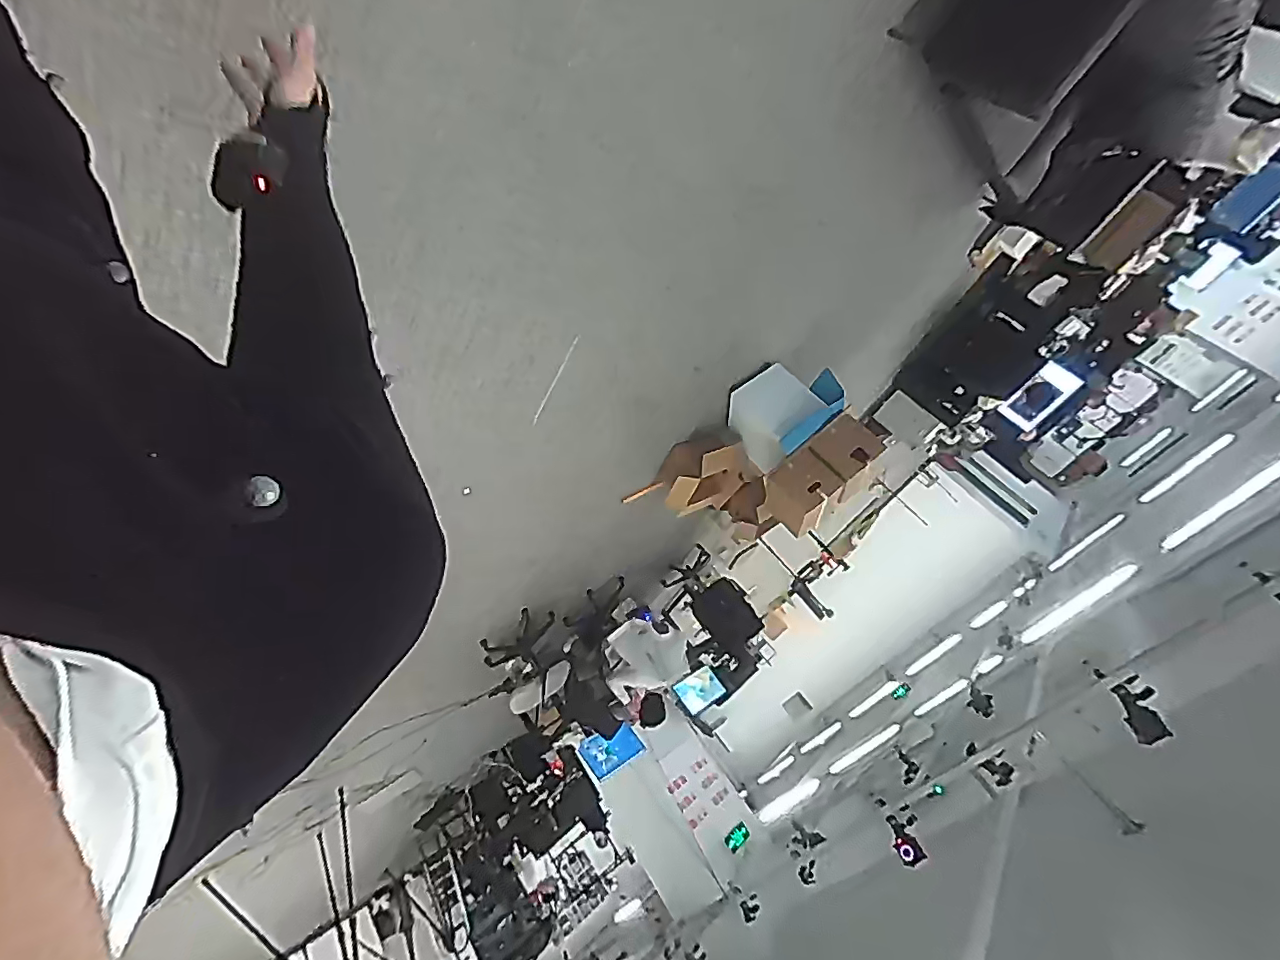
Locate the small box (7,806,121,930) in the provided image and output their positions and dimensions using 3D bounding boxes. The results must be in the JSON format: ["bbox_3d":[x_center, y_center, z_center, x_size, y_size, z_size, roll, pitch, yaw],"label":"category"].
[{"bbox_3d":[-1.457,0.975,1.370,0.179,0.176,0.168,-13,146,-46],"label":"small box"}]
